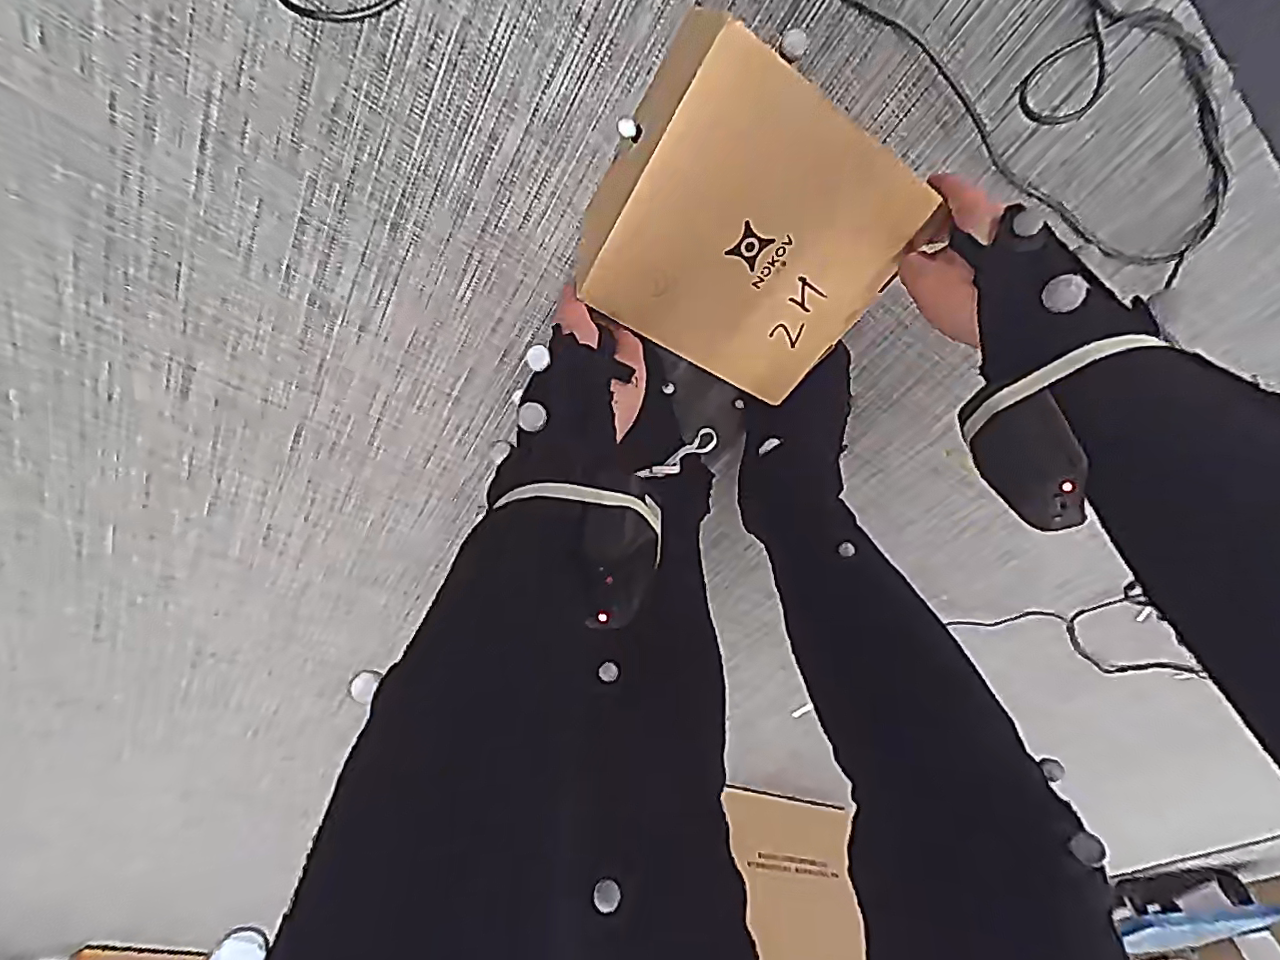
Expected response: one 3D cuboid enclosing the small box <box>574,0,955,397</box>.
[{"bbox_3d":[0.068,-0.197,0.389,0.179,0.176,0.168,23,126,-23],"label":"small box"}]
